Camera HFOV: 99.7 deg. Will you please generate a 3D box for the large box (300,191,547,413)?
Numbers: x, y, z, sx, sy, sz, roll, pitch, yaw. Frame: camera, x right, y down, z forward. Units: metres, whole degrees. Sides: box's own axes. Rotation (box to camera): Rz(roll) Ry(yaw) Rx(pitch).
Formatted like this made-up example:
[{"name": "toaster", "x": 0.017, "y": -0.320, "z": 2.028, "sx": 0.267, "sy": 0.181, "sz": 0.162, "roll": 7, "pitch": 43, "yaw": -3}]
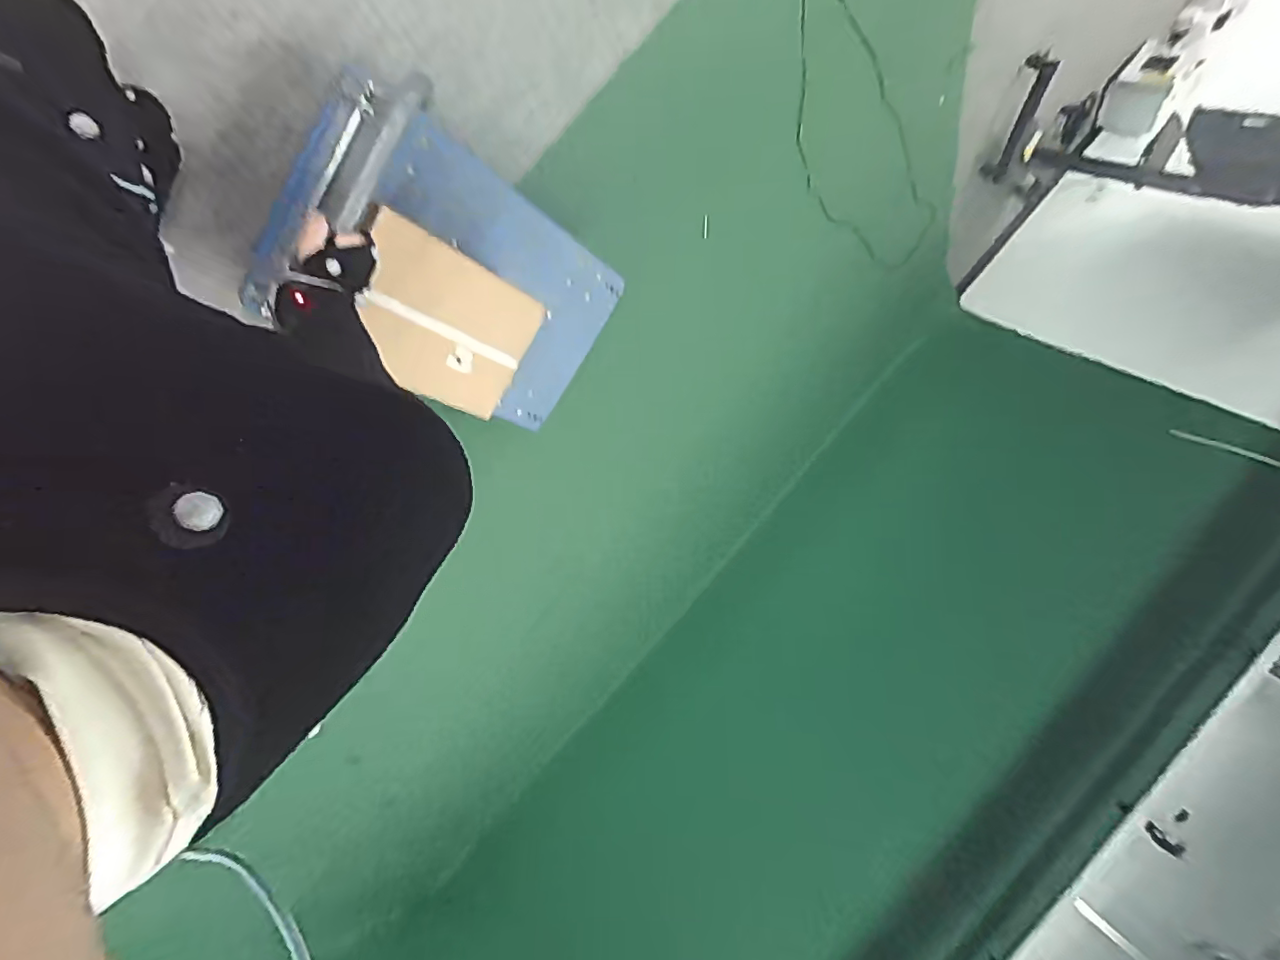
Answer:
[{"name": "large box", "x": -0.512, "y": -0.410, "z": 1.280, "sx": 0.408, "sy": 0.320, "sz": 0.320, "roll": 21, "pitch": 106, "yaw": -47}]
